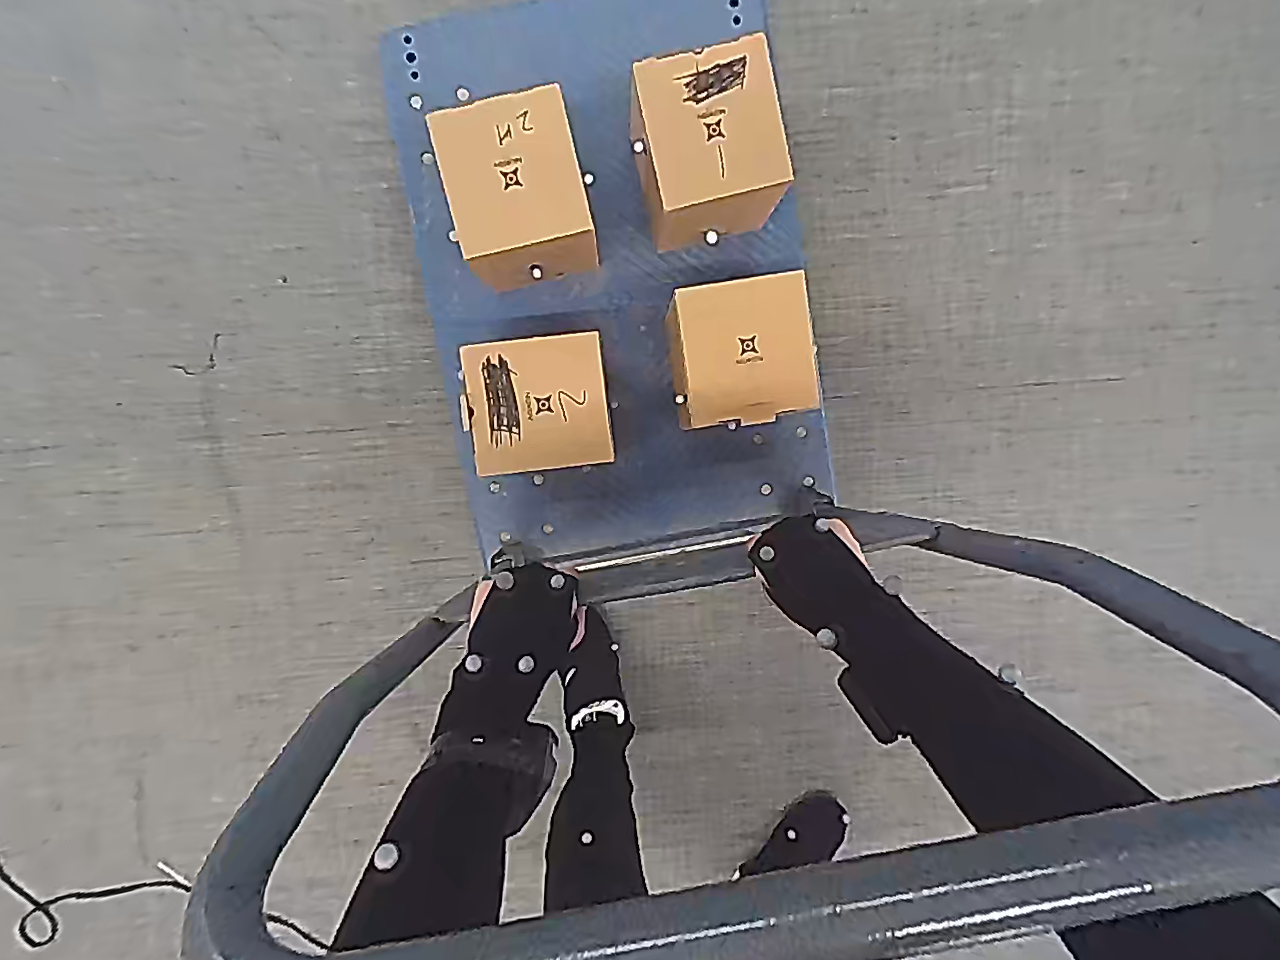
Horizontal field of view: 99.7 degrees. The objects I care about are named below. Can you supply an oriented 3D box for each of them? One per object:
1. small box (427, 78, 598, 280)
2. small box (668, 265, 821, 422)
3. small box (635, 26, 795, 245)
[{"bbox_3d":[-0.156,-0.382,0.725,0.168,0.176,0.179,-13,96,-1],"label":"small box"},{"bbox_3d":[0.135,-0.178,0.754,0.168,0.176,0.179,-9,96,-1],"label":"small box"},{"bbox_3d":[0.089,-0.443,0.724,0.168,0.176,0.179,-13,97,1],"label":"small box"}]
